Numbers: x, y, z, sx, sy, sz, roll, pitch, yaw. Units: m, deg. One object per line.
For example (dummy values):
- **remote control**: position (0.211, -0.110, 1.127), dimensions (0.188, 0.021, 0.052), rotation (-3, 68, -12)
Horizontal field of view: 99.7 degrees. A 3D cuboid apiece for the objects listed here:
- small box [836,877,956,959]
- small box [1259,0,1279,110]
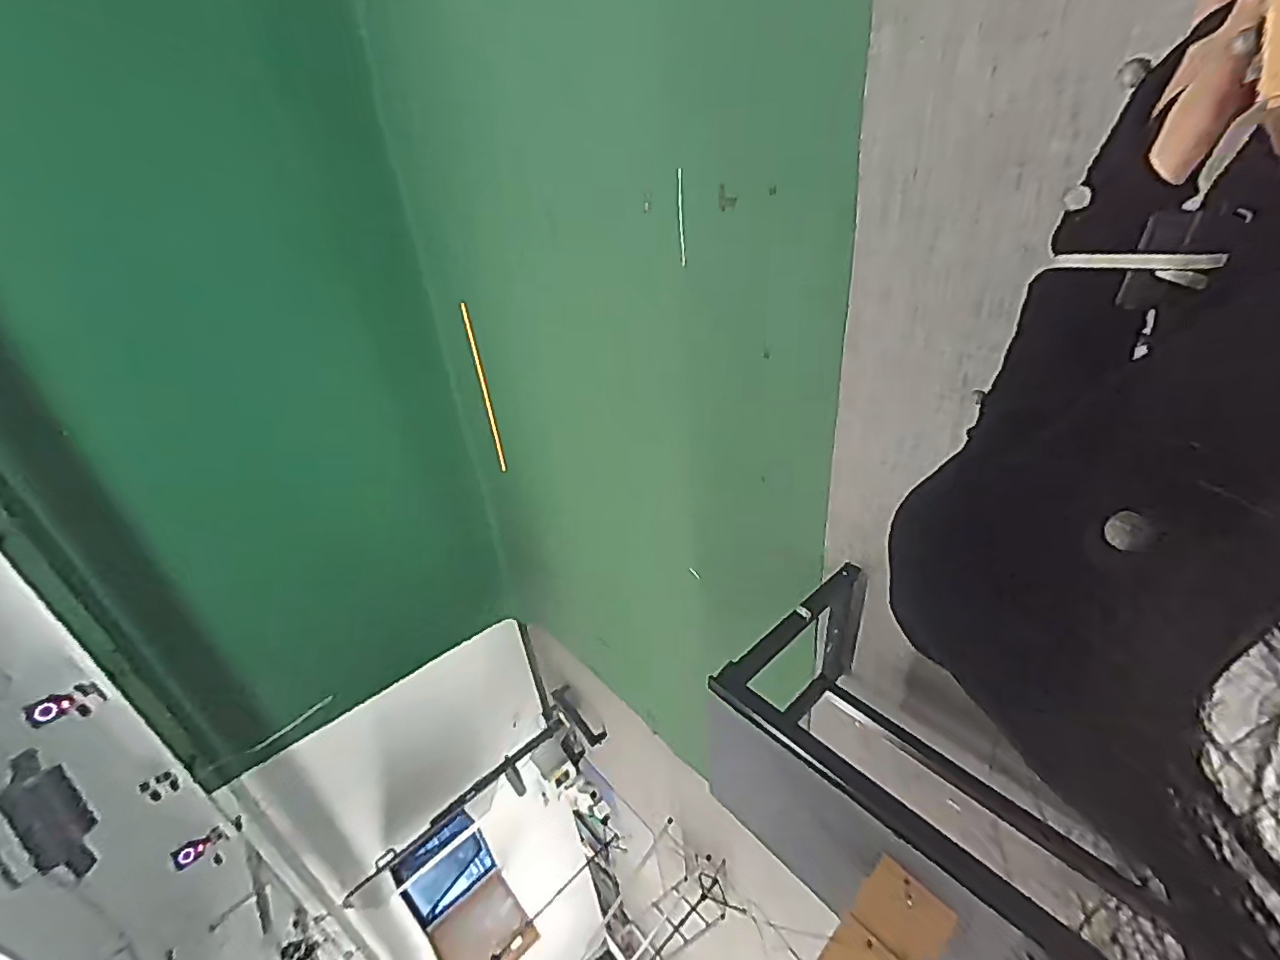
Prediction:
- **small box**: position (0.550, 1.019, 1.165), dimensions (0.168, 0.176, 0.179), rotation (28, 133, 41)
- **small box**: position (0.374, -0.263, 0.207), dimensions (0.168, 0.176, 0.179), rotation (5, 103, 52)
